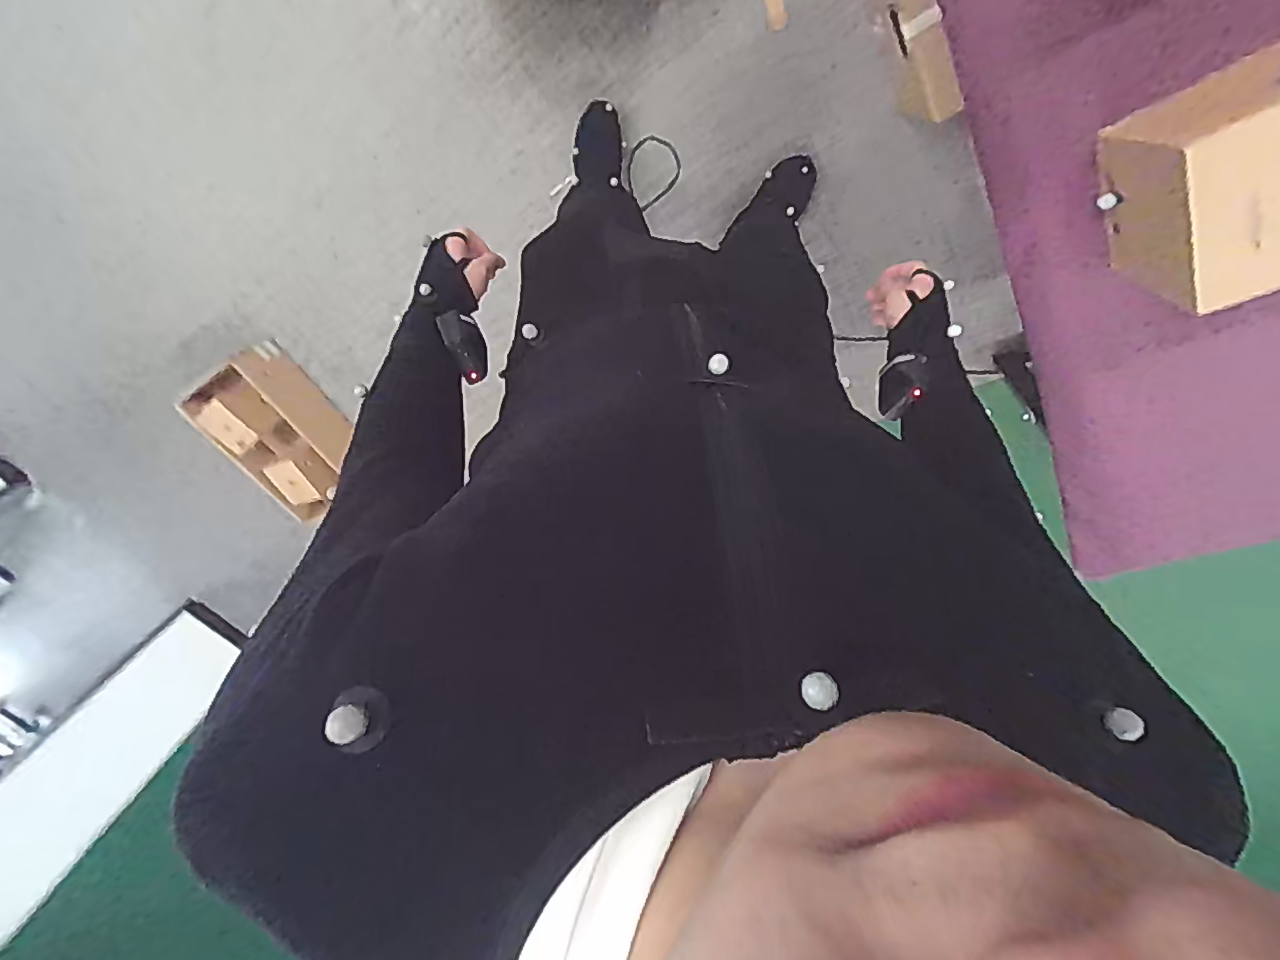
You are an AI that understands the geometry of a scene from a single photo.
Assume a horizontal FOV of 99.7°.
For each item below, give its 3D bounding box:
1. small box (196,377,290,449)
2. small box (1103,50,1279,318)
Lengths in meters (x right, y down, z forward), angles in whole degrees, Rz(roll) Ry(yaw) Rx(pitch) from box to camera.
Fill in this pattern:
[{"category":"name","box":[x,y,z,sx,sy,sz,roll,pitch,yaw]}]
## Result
[{"category":"small box","box":[-1.409,-0.246,1.928,0.168,0.176,0.179,-24,118,28]},{"category":"small box","box":[0.588,-0.288,0.509,0.179,0.176,0.168,-20,118,26]}]
